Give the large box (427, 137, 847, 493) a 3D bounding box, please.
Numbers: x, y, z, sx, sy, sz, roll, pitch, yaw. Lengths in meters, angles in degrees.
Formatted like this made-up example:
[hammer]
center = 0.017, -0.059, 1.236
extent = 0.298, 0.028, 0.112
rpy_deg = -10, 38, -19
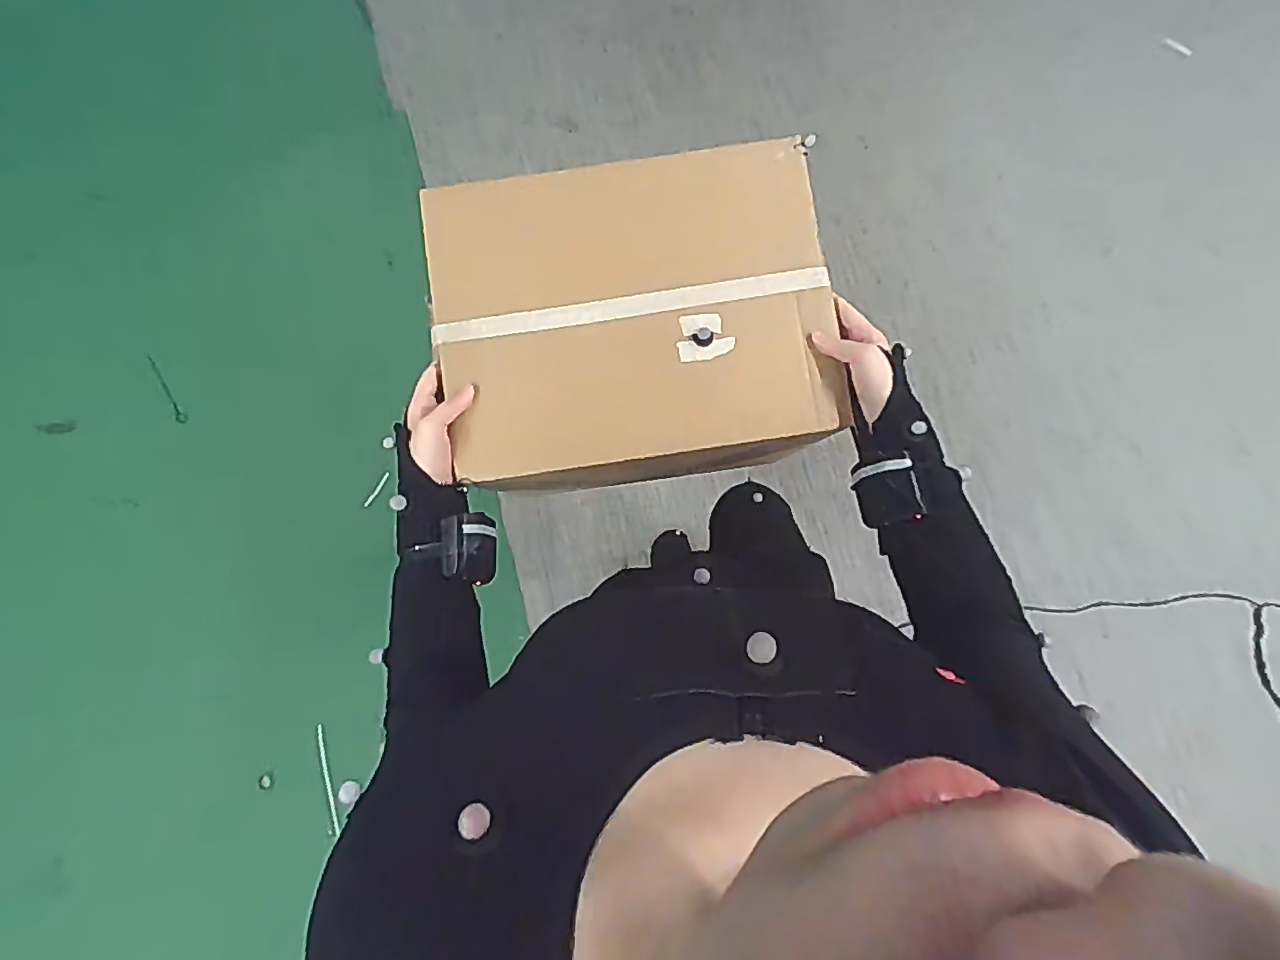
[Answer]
[large box]
center = -0.009, -0.173, 0.707
extent = 0.408, 0.320, 0.320
rpy_deg = -9, 86, -2
